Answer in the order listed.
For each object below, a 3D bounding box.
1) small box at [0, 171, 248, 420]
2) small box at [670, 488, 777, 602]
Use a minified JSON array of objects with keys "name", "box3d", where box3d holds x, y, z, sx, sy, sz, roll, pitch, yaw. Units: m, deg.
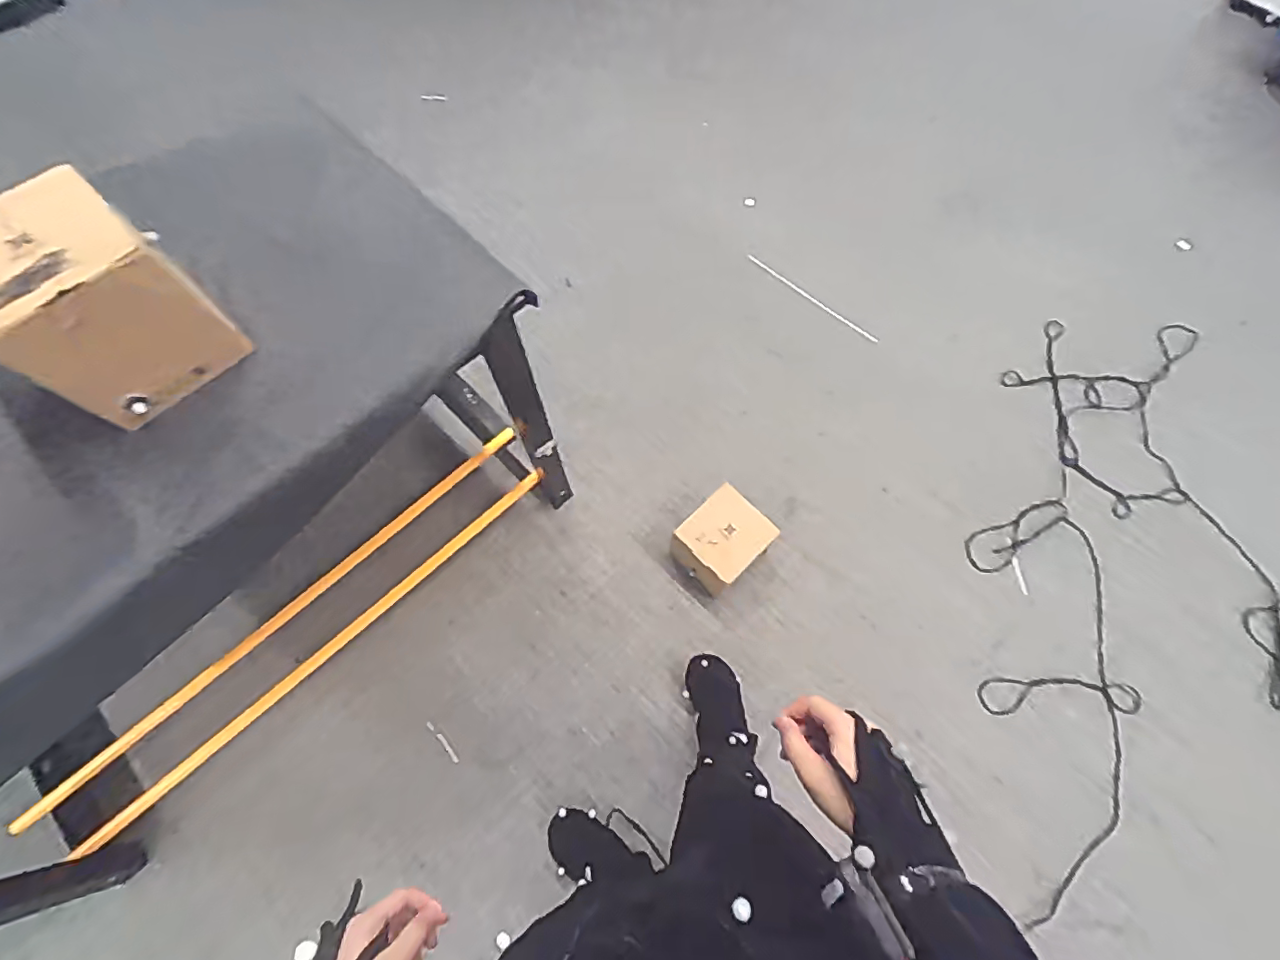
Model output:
[{"name":"small box","box3d":[-0.598,-0.191,0.605,0.179,0.176,0.168,41,72,16]},{"name":"small box","box3d":[0.184,0.155,1.253,0.179,0.176,0.168,-41,72,-16]}]
